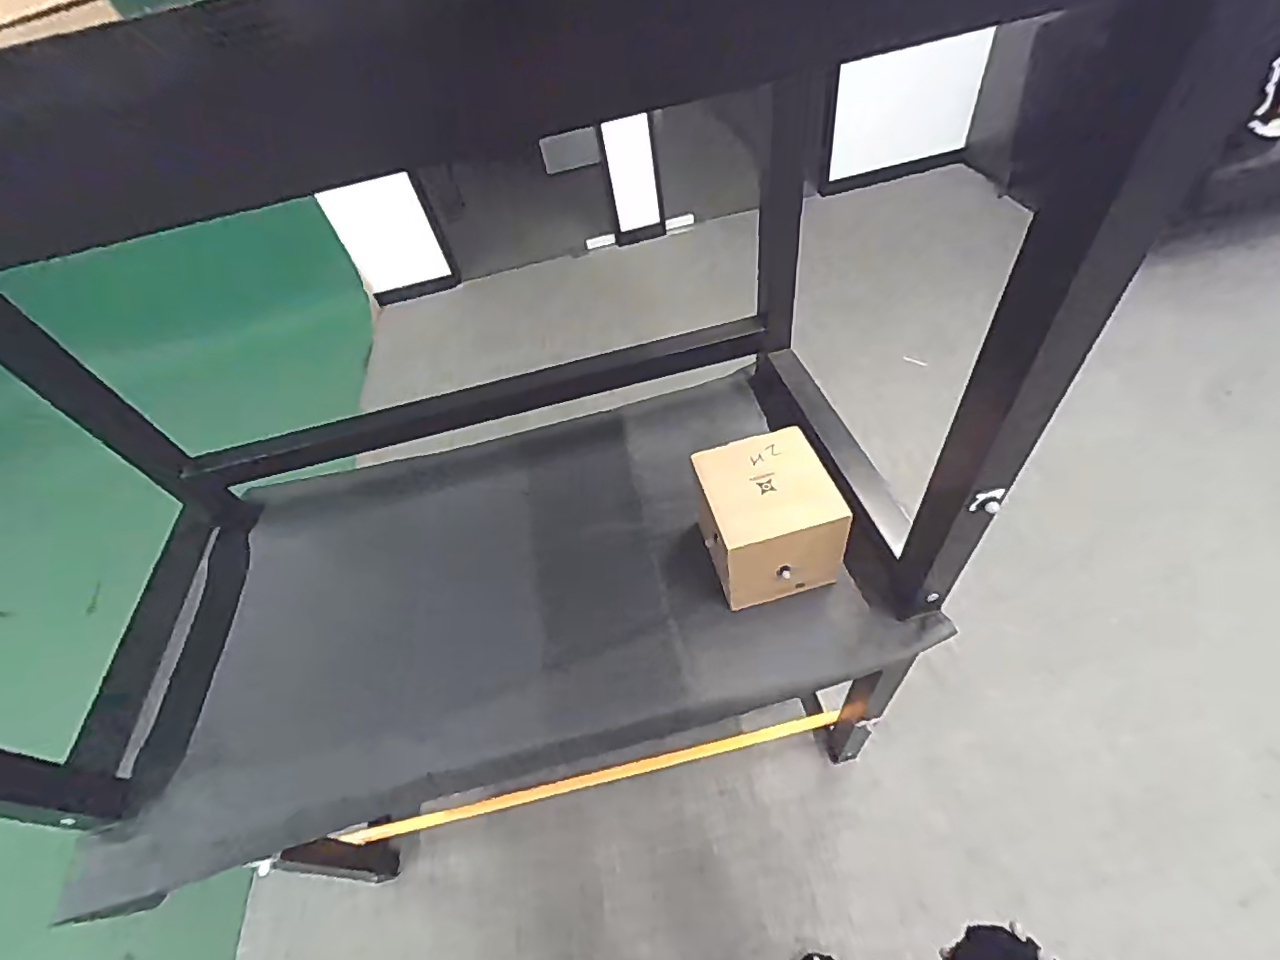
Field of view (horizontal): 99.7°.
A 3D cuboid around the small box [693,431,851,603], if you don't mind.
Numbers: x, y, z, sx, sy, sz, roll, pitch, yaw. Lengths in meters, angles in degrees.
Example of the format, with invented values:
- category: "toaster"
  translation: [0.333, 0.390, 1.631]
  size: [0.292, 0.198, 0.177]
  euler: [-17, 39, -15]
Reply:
- category: "small box"
  translation: [0.185, 0.062, 0.791]
  size: [0.168, 0.176, 0.179]
  euler: [-15, 48, -2]
